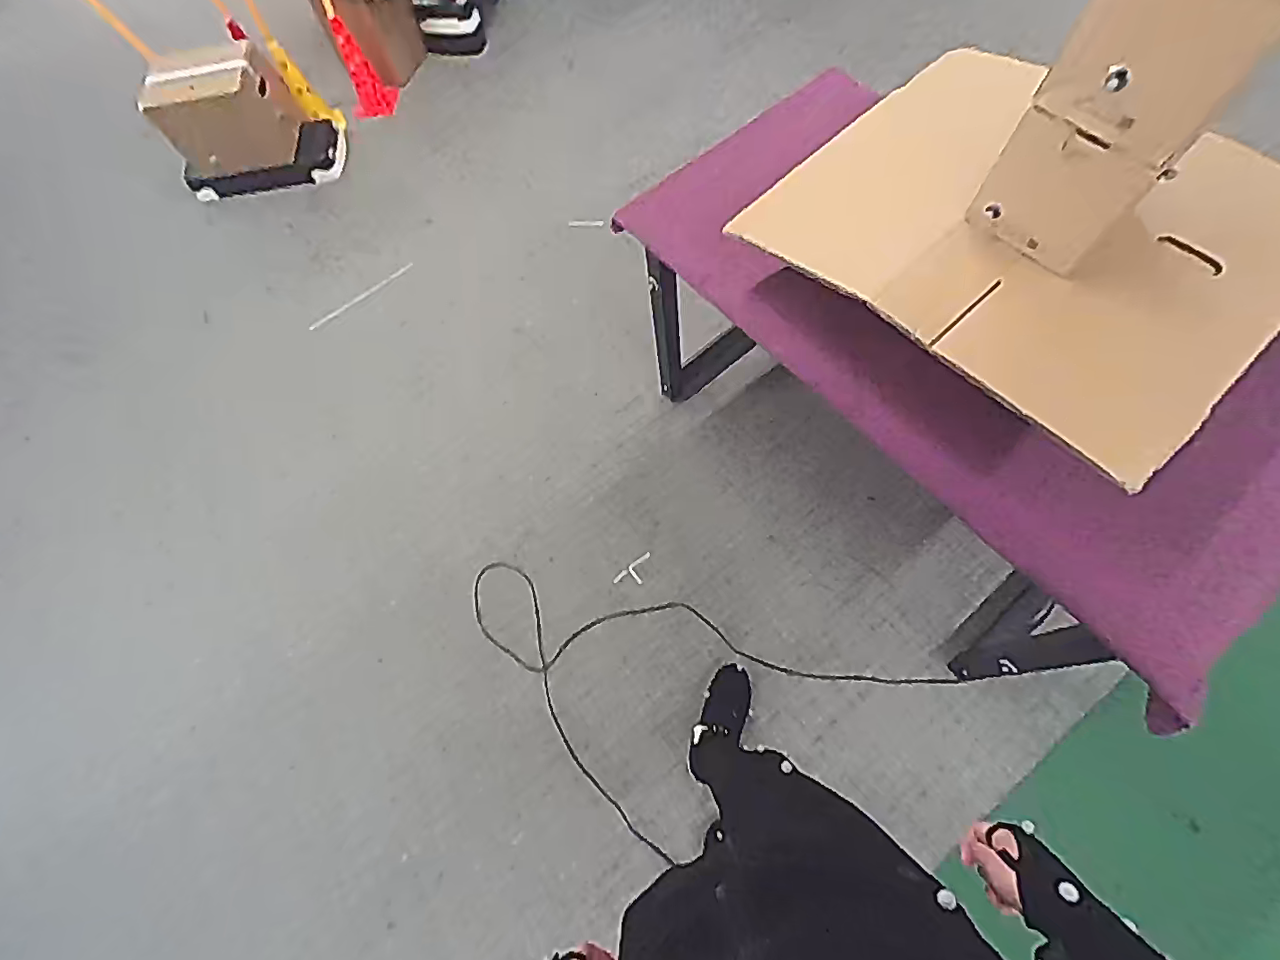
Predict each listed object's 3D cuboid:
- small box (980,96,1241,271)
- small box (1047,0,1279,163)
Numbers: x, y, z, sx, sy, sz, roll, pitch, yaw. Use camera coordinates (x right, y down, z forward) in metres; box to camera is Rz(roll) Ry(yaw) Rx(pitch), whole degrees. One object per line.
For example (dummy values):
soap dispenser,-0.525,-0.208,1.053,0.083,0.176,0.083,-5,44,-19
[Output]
small box,0.596,-0.418,0.718,0.179,0.176,0.168,-40,71,-12
small box,0.589,-0.484,0.570,0.179,0.176,0.168,-42,72,-11
